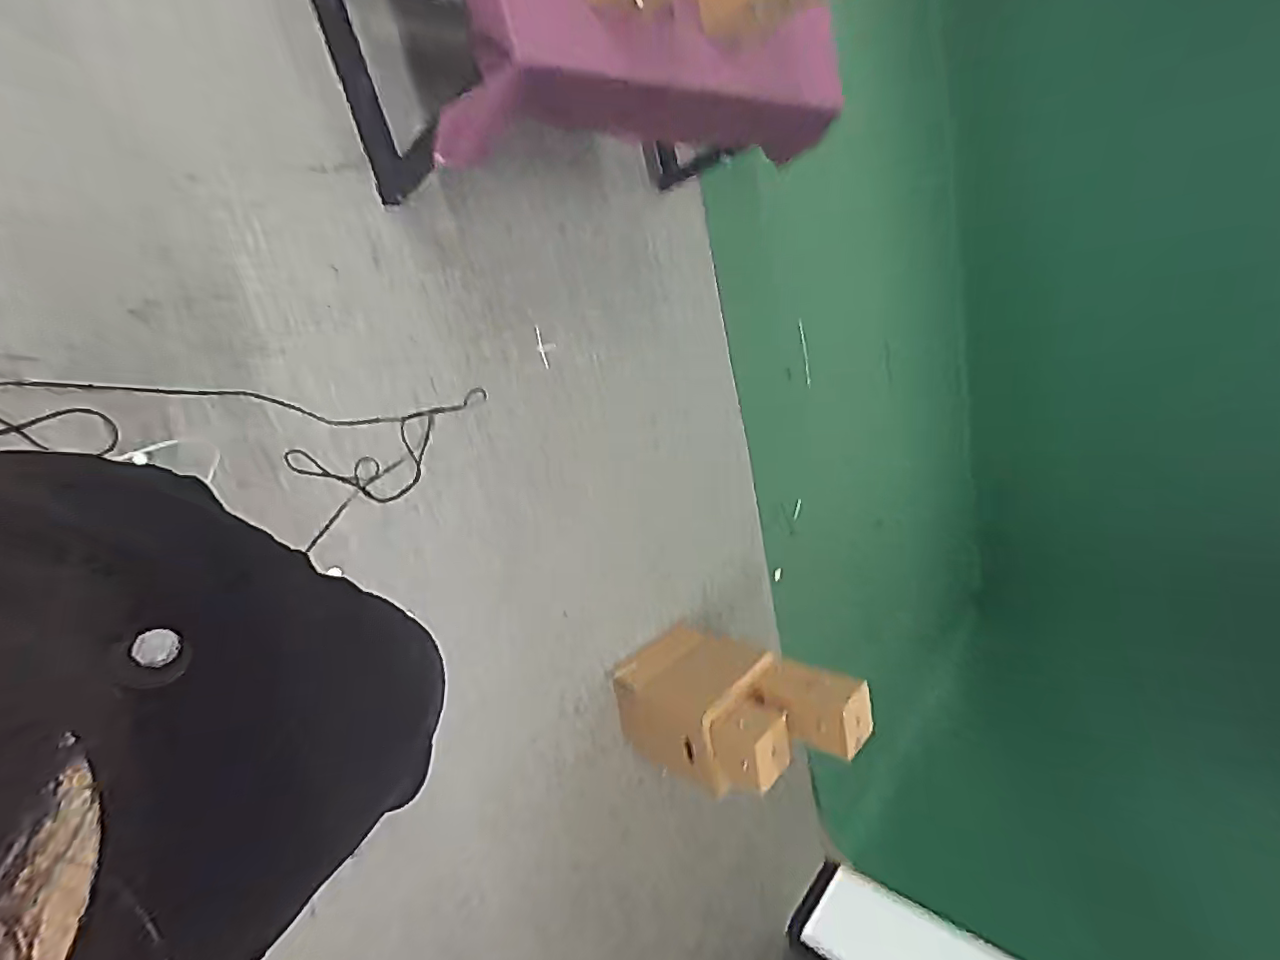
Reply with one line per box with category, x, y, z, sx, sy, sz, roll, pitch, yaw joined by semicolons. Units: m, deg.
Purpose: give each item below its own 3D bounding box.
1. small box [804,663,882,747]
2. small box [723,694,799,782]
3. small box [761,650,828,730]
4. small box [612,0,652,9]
small box;0.648;0.709;1.733;0.168;0.176;0.179;-22;104;-39
small box;0.379;0.802;1.707;0.168;0.176;0.179;-21;105;-41
small box;0.540;0.714;1.856;0.168;0.176;0.179;-24;105;-38
small box;-0.013;-0.996;0.954;0.168;0.176;0.179;-27;108;-39
